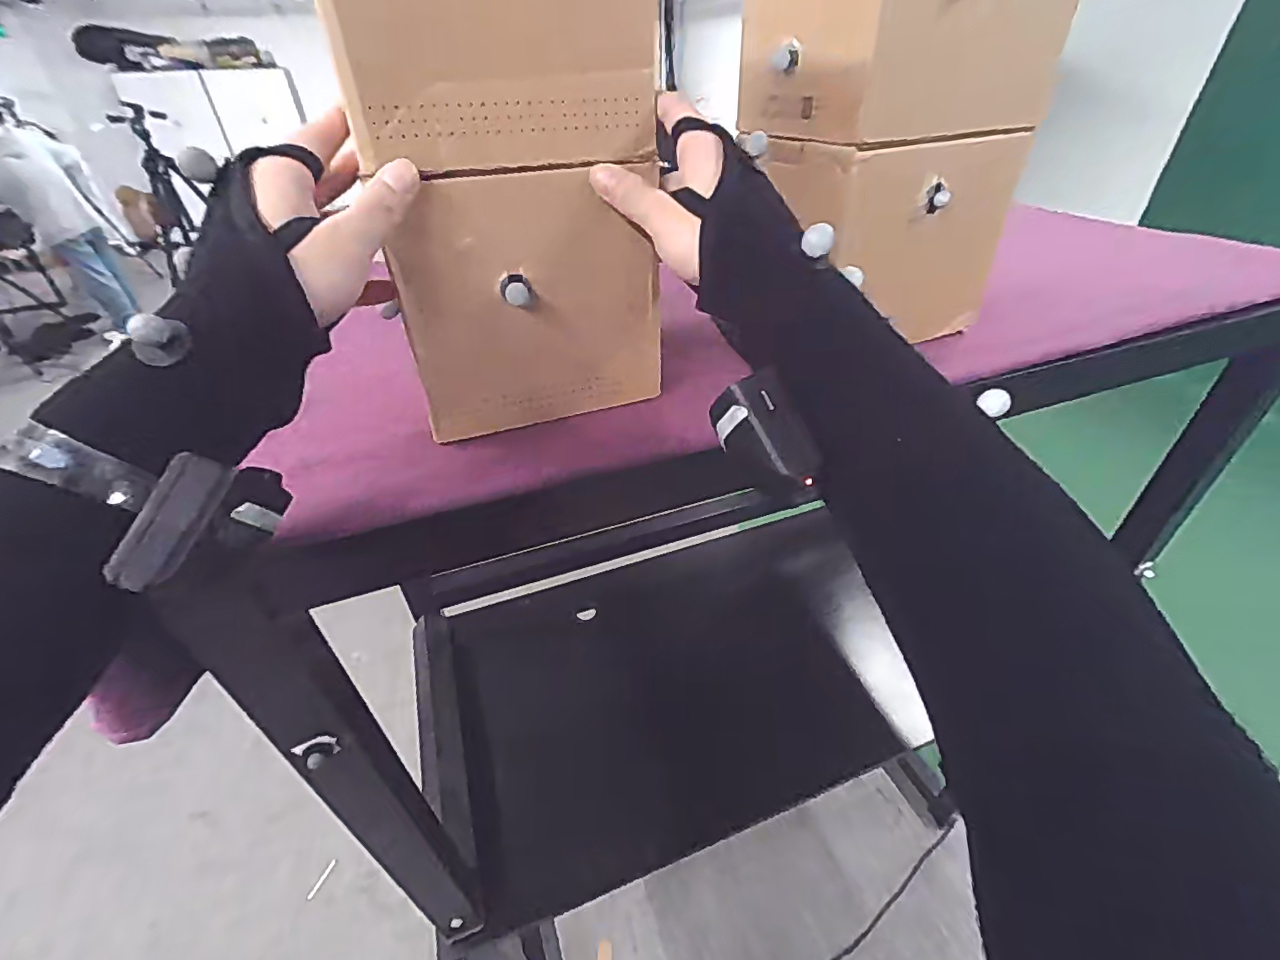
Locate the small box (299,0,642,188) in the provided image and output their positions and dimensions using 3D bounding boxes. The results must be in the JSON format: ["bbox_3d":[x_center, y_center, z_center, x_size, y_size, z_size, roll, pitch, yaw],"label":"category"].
[{"bbox_3d":[-0.108,-0.282,0.329,0.179,0.176,0.168,-15,37,-19],"label":"small box"}]

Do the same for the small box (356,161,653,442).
[{"bbox_3d":[-0.099,-0.148,0.422,0.179,0.176,0.168,-16,38,-17],"label":"small box"}]

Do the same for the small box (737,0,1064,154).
[{"bbox_3d":[0.188,-0.355,0.408,0.179,0.176,0.168,-17,39,-16],"label":"small box"}]

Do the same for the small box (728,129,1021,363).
[{"bbox_3d":[0.195,-0.223,0.505,0.179,0.176,0.168,-15,38,-16],"label":"small box"}]
